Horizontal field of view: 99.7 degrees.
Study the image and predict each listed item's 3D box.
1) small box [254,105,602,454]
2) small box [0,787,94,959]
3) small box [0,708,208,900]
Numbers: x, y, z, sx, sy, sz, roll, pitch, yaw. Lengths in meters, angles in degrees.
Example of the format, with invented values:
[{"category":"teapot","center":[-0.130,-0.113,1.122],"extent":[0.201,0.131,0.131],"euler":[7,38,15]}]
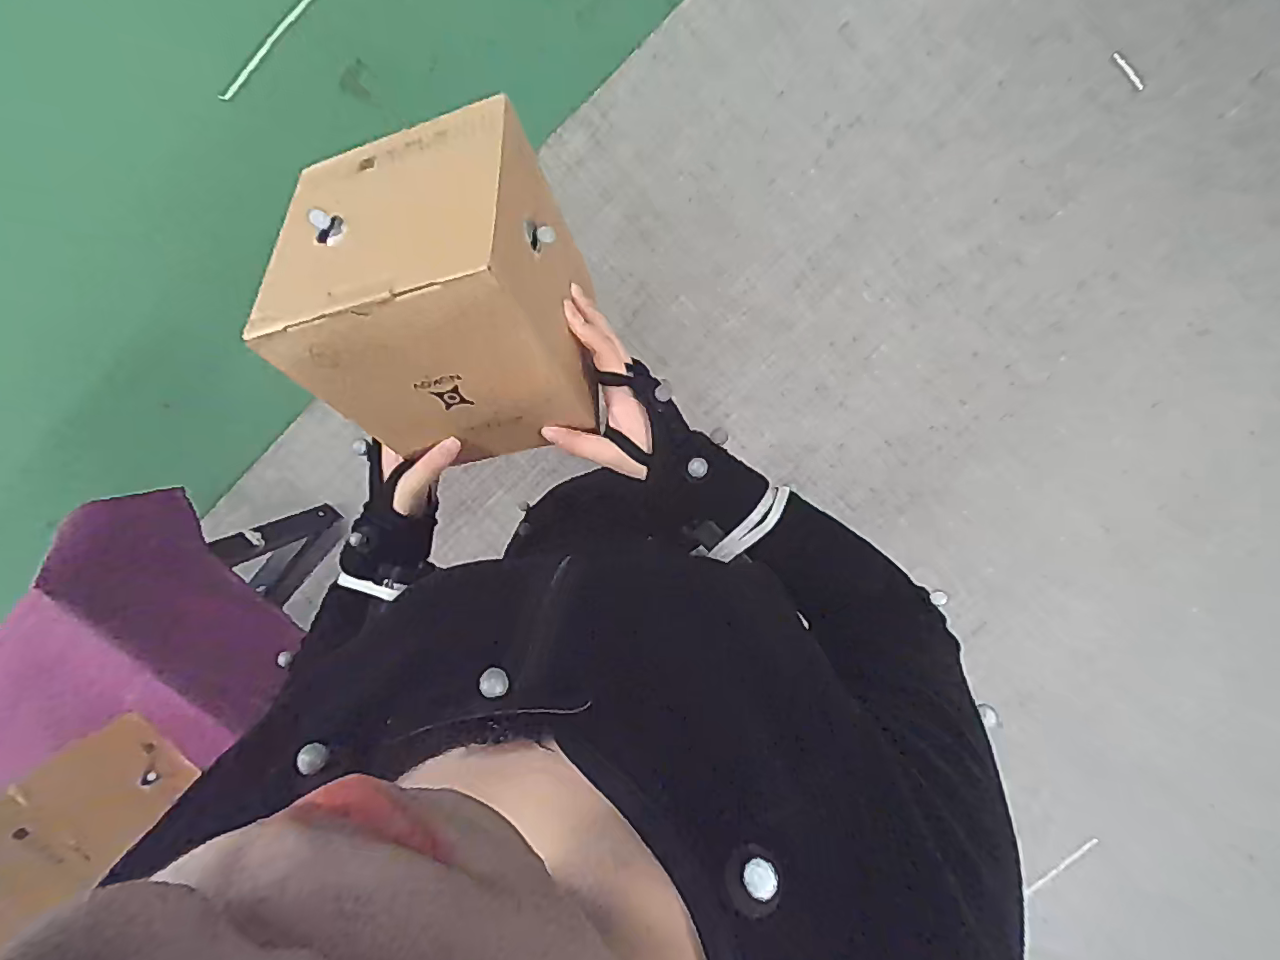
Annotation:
[{"category":"small box","center":[-0.135,-0.145,0.411],"extent":[0.168,0.179,0.176],"euler":[-10,62,12]},{"category":"small box","center":[-0.773,0.486,0.589],"extent":[0.179,0.176,0.168],"euler":[-43,95,6]},{"category":"small box","center":[-0.770,0.464,0.752],"extent":[0.179,0.176,0.168],"euler":[-42,96,5]}]
